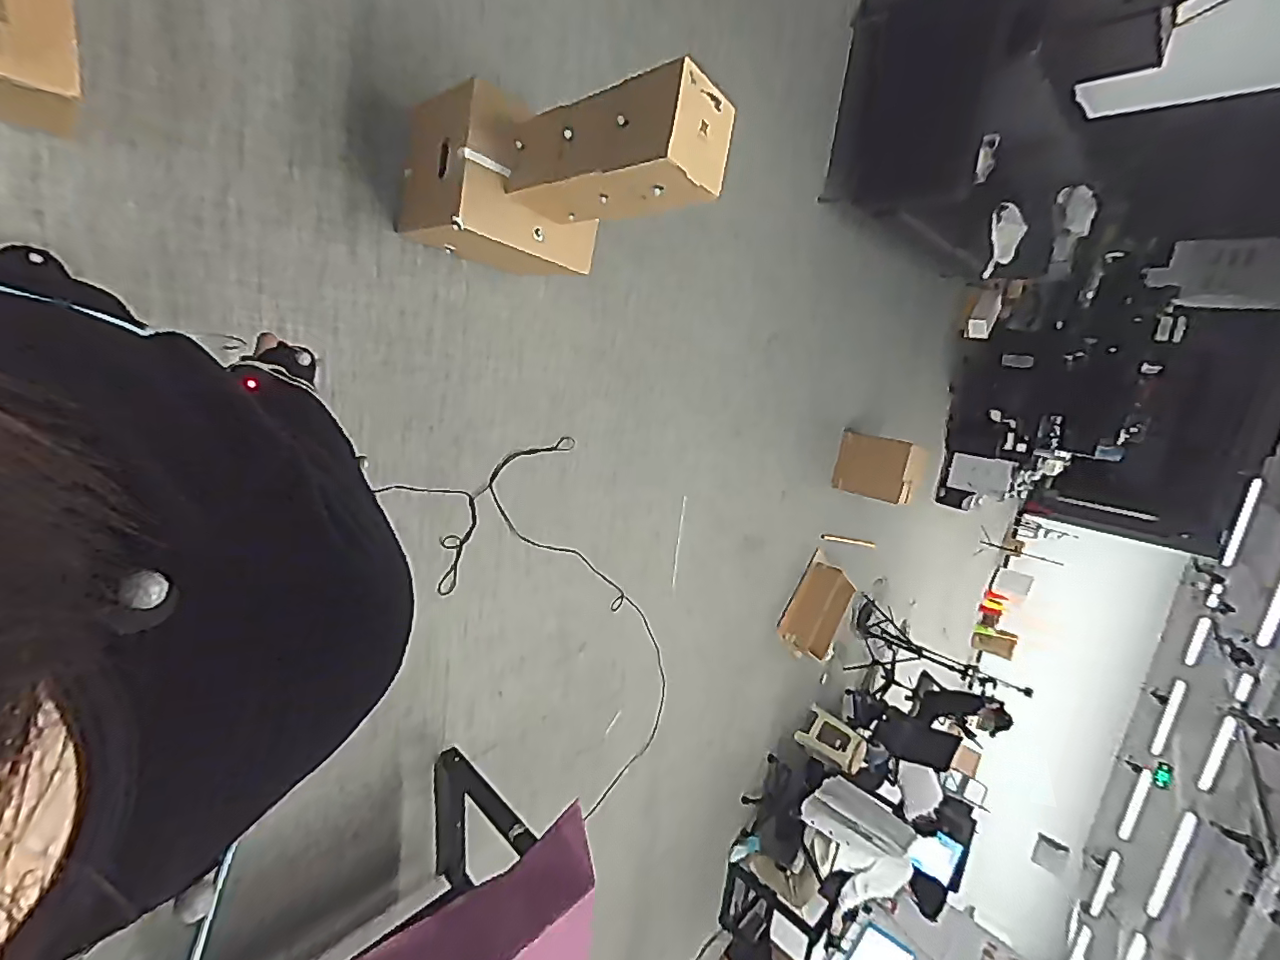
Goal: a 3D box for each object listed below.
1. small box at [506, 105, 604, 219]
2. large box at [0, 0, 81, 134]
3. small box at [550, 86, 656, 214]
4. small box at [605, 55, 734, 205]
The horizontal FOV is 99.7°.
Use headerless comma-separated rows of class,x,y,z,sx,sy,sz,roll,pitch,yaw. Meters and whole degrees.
small box,-0.183,-0.730,1.266,0.179,0.176,0.168,6,97,-48
large box,-1.006,-0.763,0.728,0.320,0.320,0.408,-8,109,-46
small box,-0.064,-0.692,1.160,0.179,0.176,0.168,8,96,-48
small box,0.054,-0.661,1.050,0.168,0.176,0.179,6,98,-49
